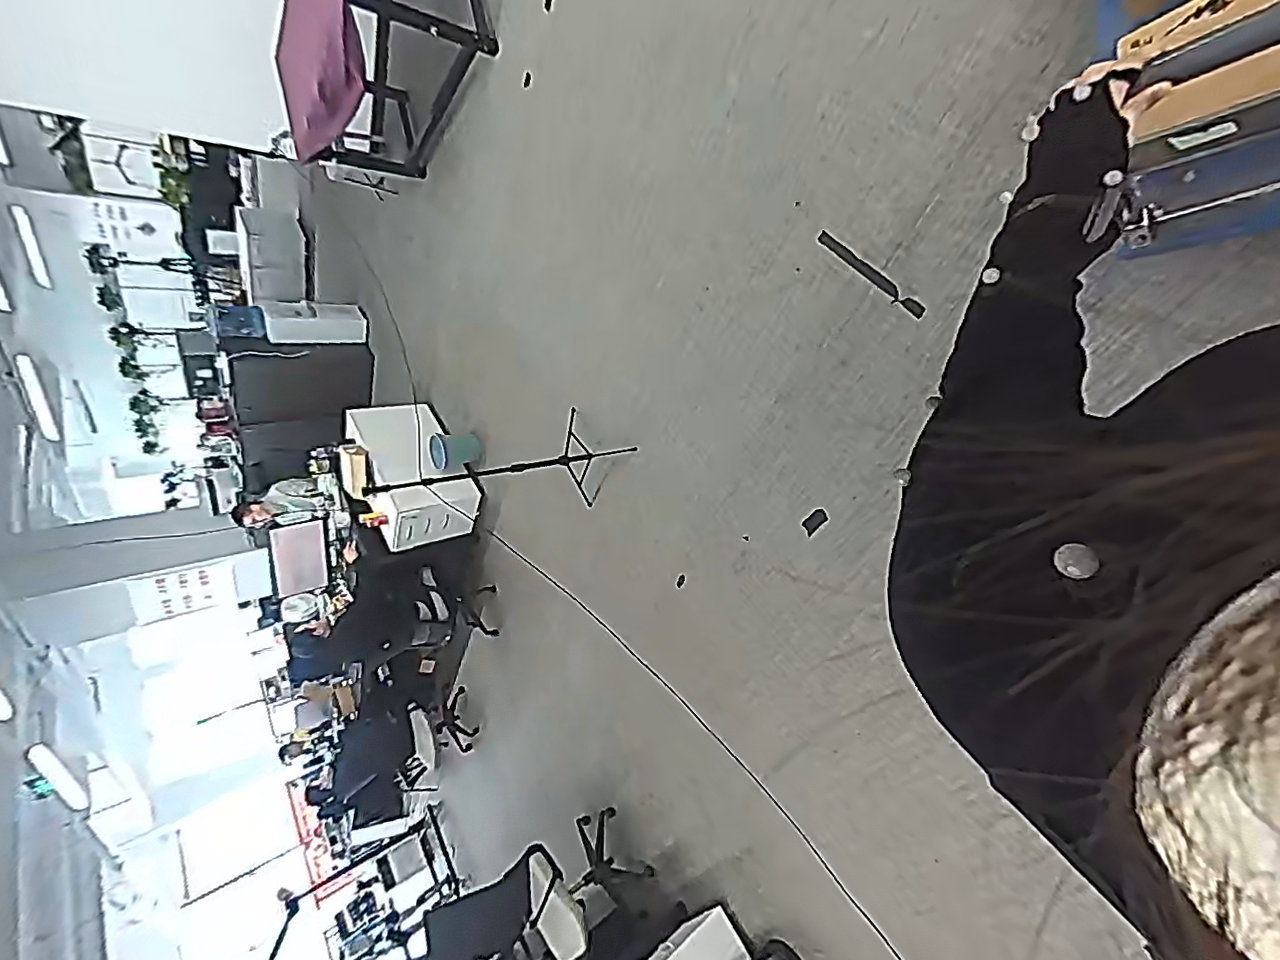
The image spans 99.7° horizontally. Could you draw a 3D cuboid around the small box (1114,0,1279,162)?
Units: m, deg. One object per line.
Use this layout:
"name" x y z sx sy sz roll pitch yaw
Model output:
"small box" 0.859 -0.618 0.829 0.168 0.176 0.179 -7 95 49
